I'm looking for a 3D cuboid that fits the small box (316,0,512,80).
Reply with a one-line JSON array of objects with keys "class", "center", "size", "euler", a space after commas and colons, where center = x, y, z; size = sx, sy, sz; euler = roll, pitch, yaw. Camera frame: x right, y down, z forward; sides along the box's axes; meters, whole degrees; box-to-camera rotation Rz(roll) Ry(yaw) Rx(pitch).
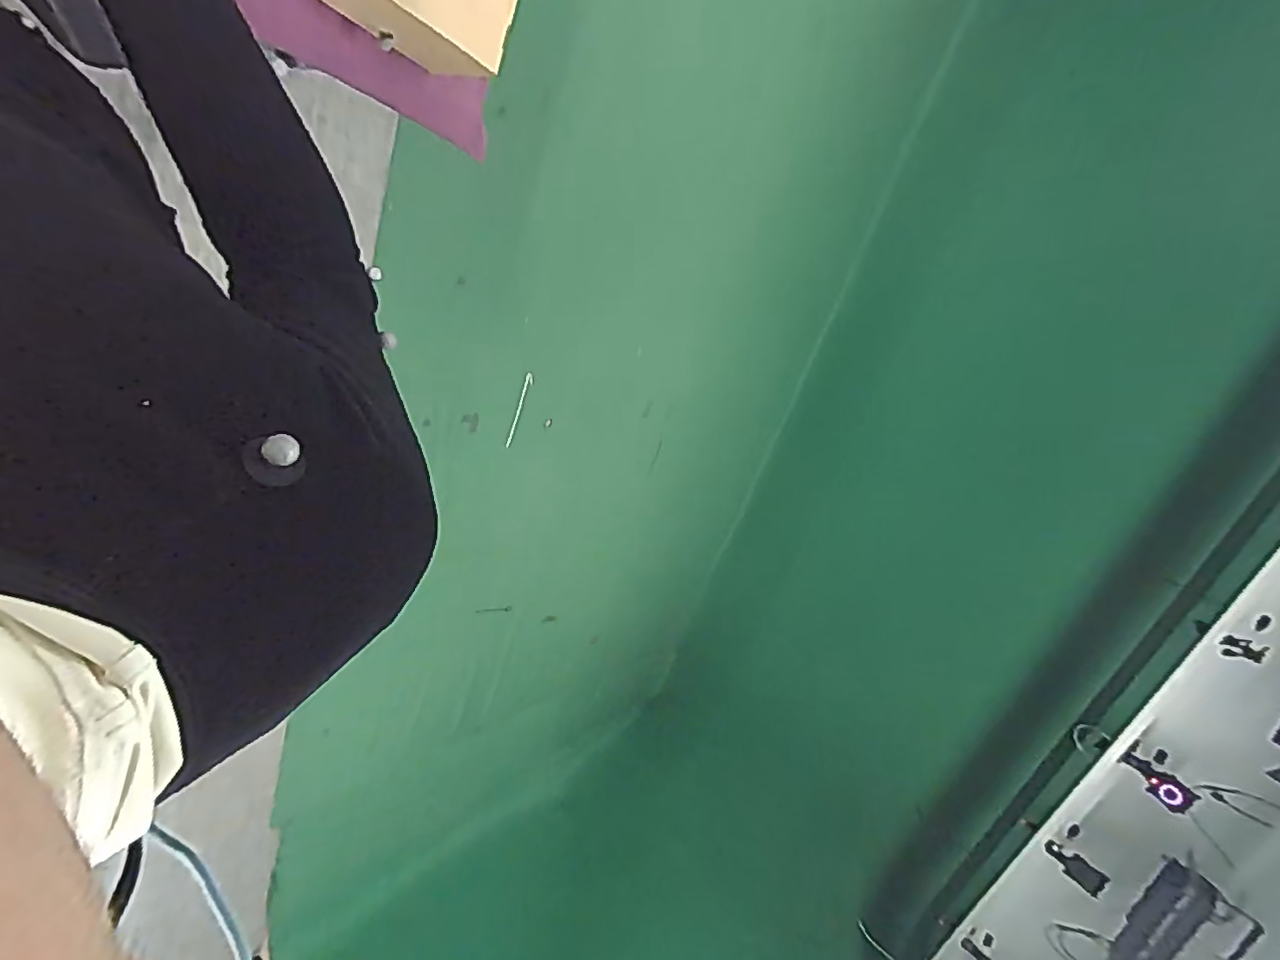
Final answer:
[{"class": "small box", "center": [-0.271, -0.620, 0.643], "size": [0.179, 0.176, 0.168], "euler": [0, 116, -53]}]
